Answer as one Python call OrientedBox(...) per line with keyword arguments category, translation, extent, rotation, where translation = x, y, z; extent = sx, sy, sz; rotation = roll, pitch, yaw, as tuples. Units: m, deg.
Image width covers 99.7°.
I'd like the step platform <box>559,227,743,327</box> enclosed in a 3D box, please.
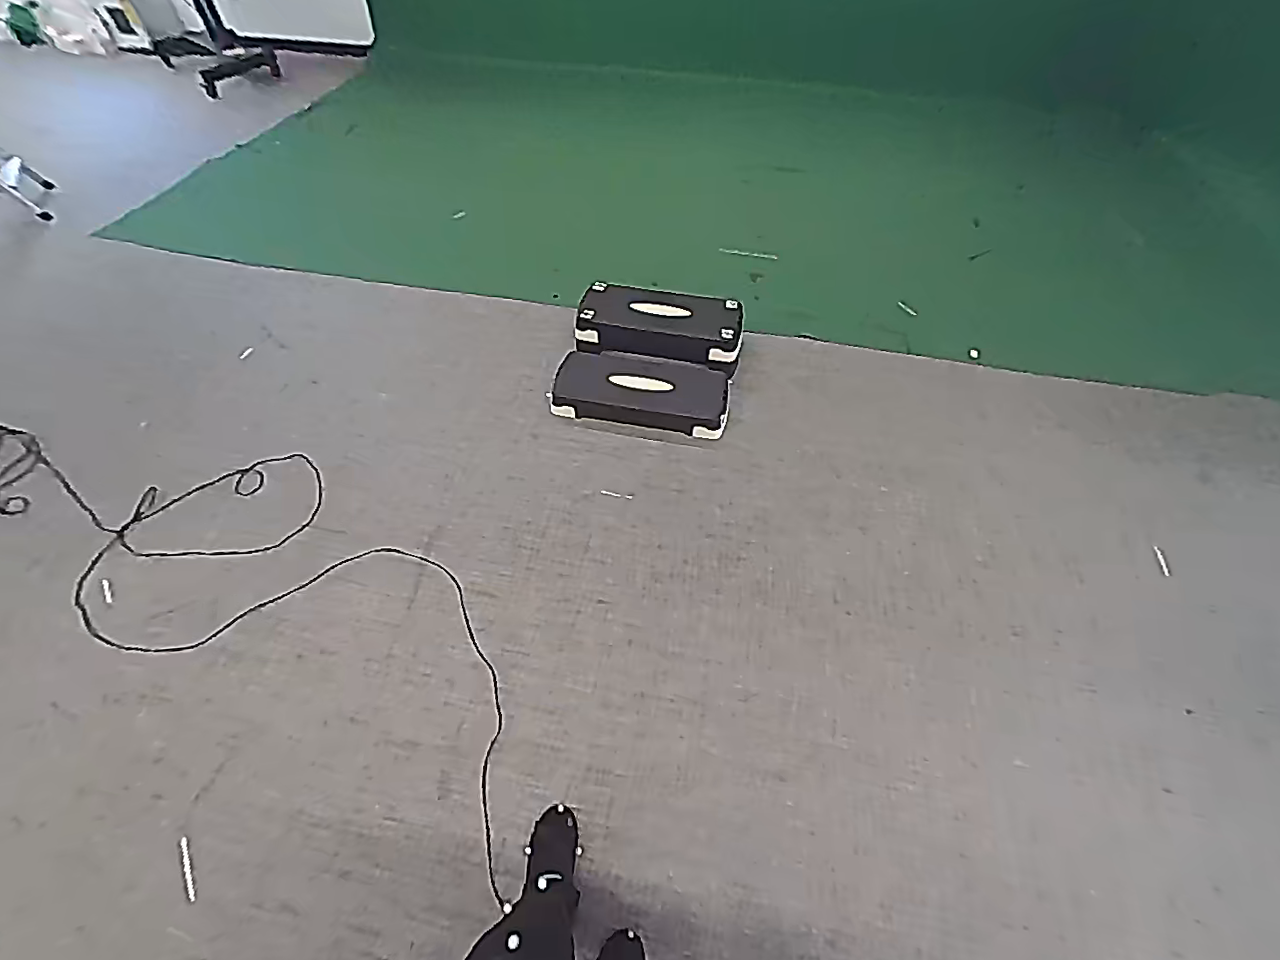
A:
OrientedBox(category="step platform", translation=(0.041, -0.788, 2.104), extent=(0.684, 0.204, 0.286), rotation=(9, 53, 7))
